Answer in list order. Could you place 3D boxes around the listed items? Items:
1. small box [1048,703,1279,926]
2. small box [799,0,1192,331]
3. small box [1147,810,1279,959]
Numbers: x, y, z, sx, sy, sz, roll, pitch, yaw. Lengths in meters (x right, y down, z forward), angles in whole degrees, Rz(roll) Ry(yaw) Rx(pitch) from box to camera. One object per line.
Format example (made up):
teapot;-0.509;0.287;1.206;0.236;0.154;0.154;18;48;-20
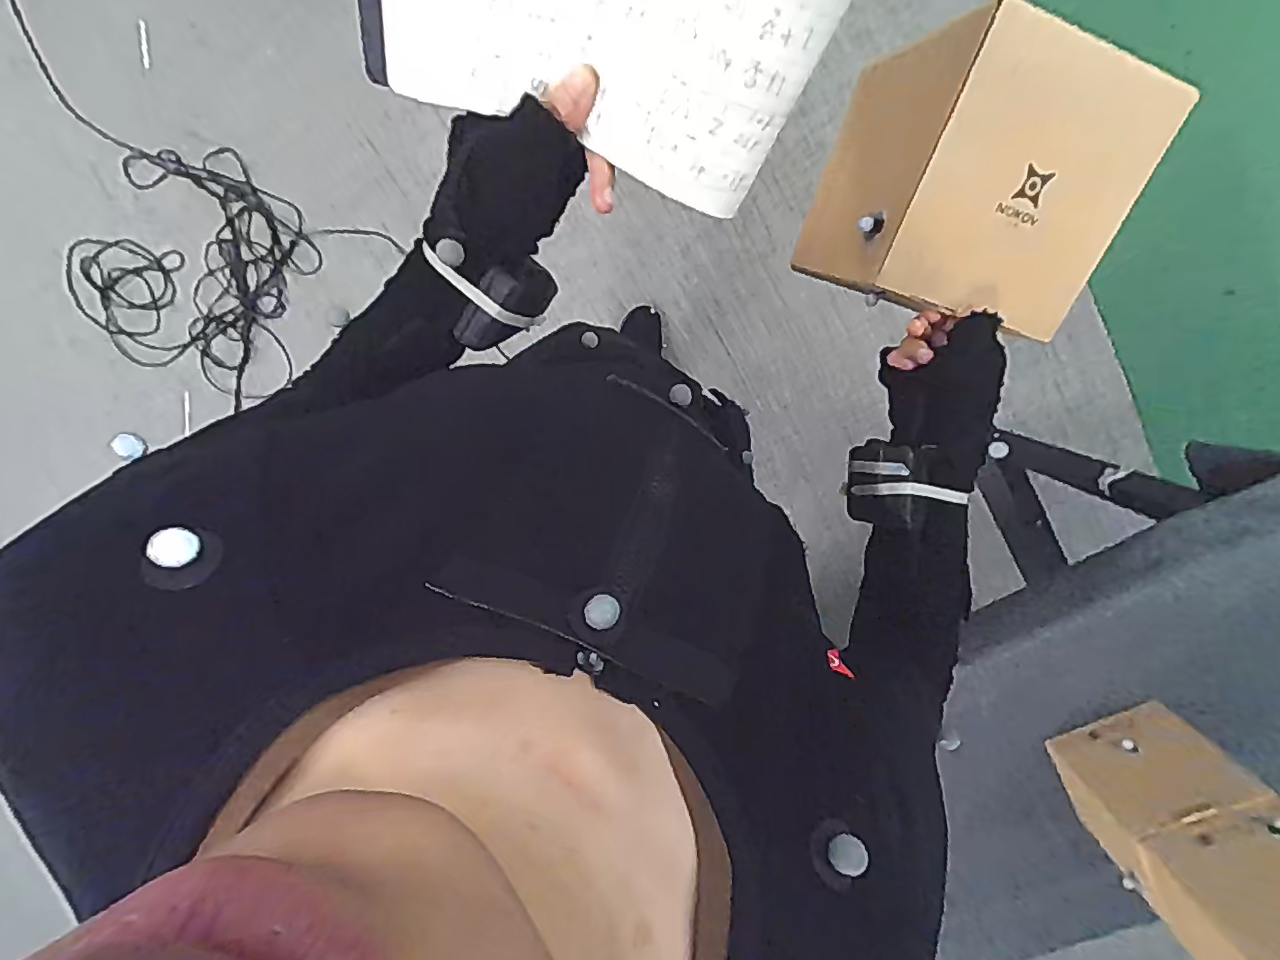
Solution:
small box;0.723;0.453;0.750;0.168;0.176;0.179;-28;103;10
small box;0.257;-0.244;0.443;0.168;0.176;0.179;11;115;-14
small box;0.719;0.501;0.593;0.168;0.176;0.179;-27;104;10
